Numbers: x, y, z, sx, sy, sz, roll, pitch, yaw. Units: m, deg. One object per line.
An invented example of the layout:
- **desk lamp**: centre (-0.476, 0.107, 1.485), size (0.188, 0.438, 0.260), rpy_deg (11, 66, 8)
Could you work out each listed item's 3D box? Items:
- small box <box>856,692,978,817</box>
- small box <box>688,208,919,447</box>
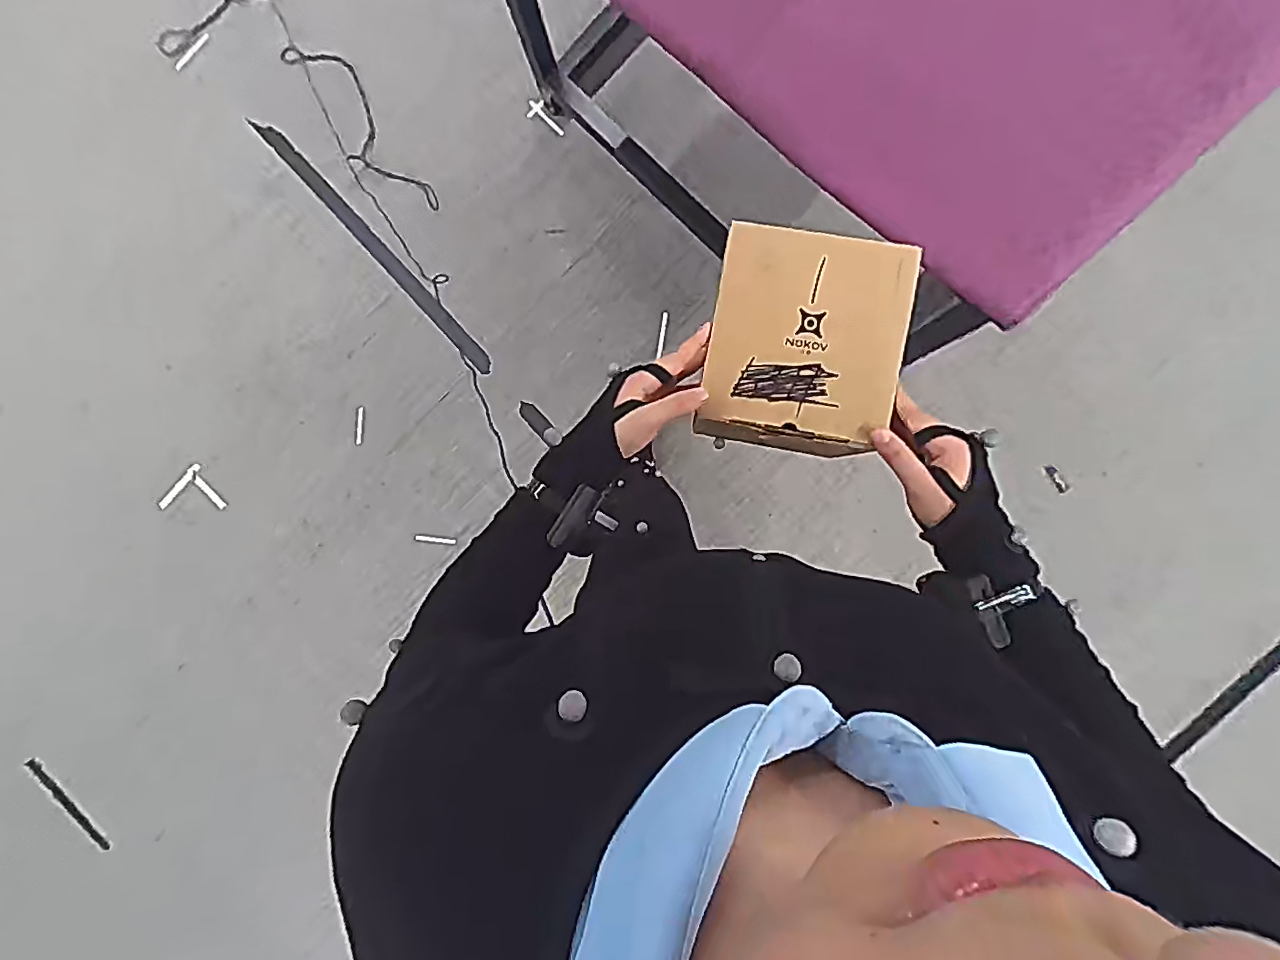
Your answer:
- **small box**: centre (0.667, 0.661, 1.323), size (0.168, 0.176, 0.179), rpy_deg (-39, 88, 5)
- **small box**: centre (0.146, -0.134, 0.540), size (0.168, 0.176, 0.179), rpy_deg (11, 89, 4)
